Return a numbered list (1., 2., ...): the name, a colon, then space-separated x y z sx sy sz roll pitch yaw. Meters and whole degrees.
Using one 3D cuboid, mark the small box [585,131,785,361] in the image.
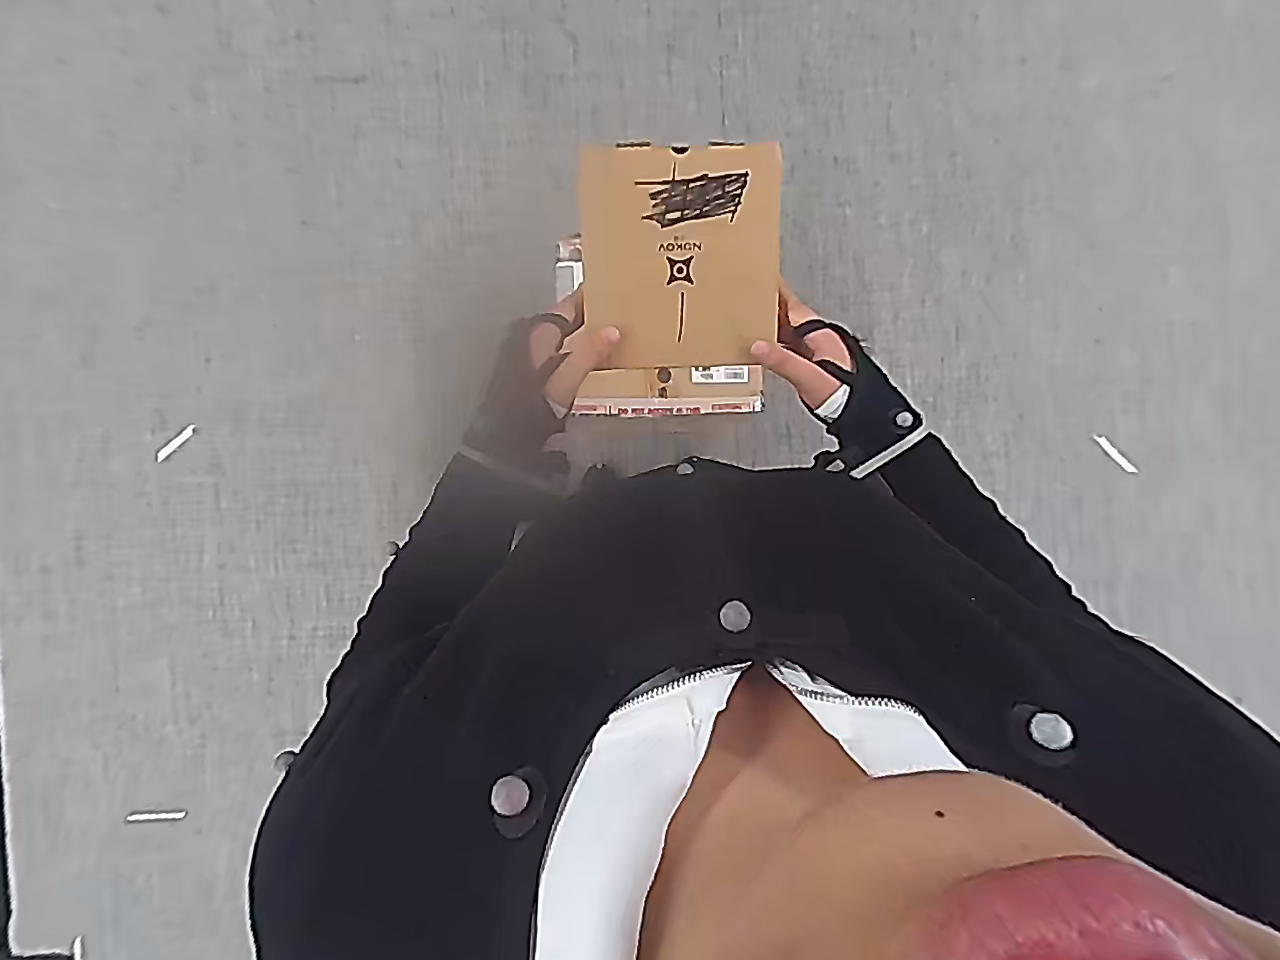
1. small box: 0.033 -0.208 0.525 0.168 0.176 0.179 -2 103 -2
